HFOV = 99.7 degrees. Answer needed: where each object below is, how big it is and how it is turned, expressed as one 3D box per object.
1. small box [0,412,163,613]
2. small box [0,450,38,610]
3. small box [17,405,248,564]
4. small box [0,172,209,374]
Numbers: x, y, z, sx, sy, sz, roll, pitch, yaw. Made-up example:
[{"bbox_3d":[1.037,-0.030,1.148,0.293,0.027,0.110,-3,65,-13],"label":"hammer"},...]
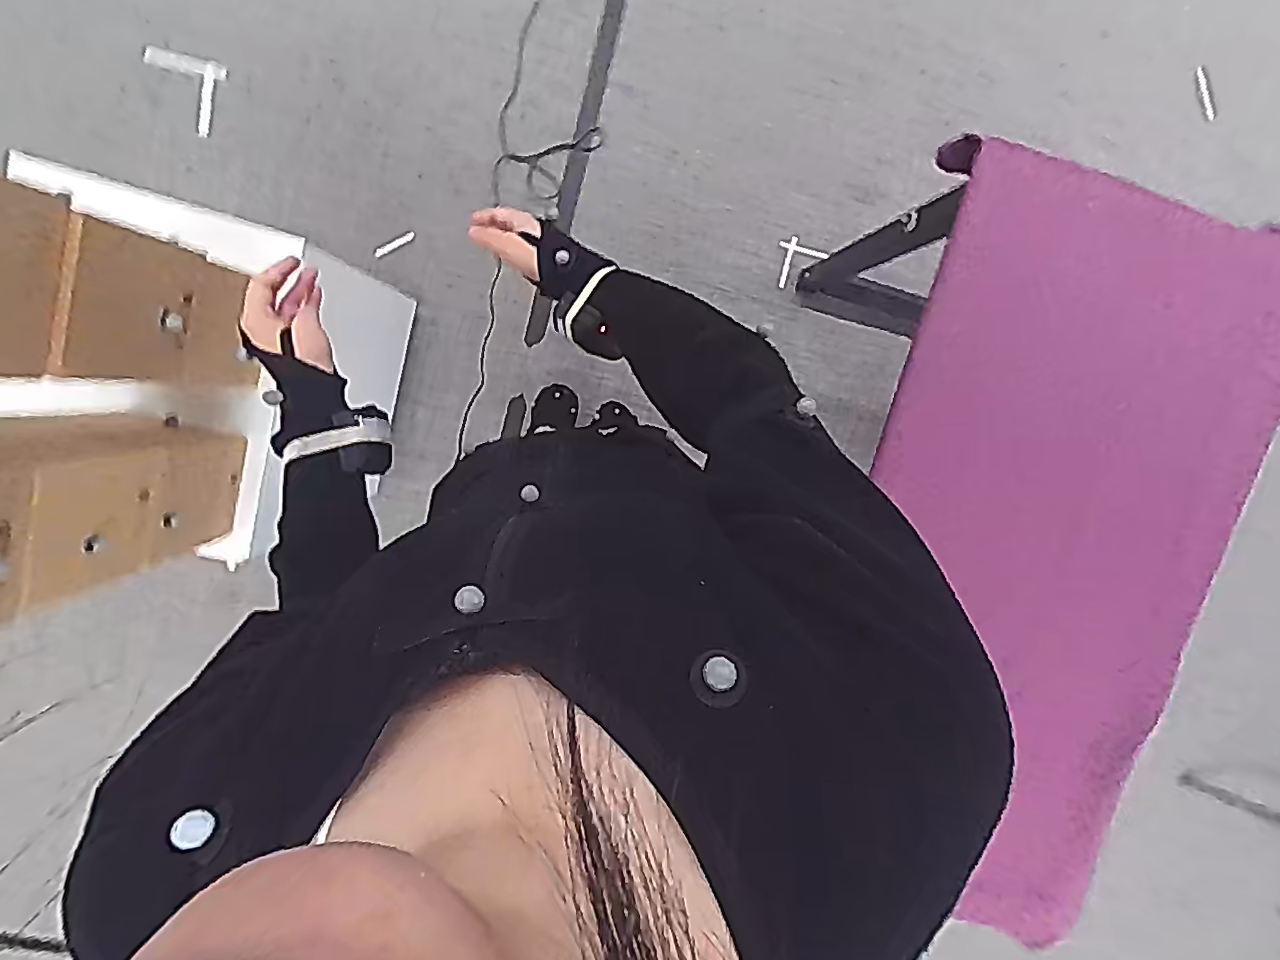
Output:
[{"bbox_3d":[-0.684,0.023,0.596,0.179,0.176,0.168,14,98,-7],"label":"small box"},{"bbox_3d":[-0.670,0.048,0.436,0.179,0.176,0.168,14,99,-8],"label":"small box"},{"bbox_3d":[-0.701,-0.003,0.755,0.179,0.176,0.168,15,98,-7],"label":"small box"},{"bbox_3d":[-0.609,-0.211,0.562,0.179,0.176,0.168,16,98,-9],"label":"small box"}]
